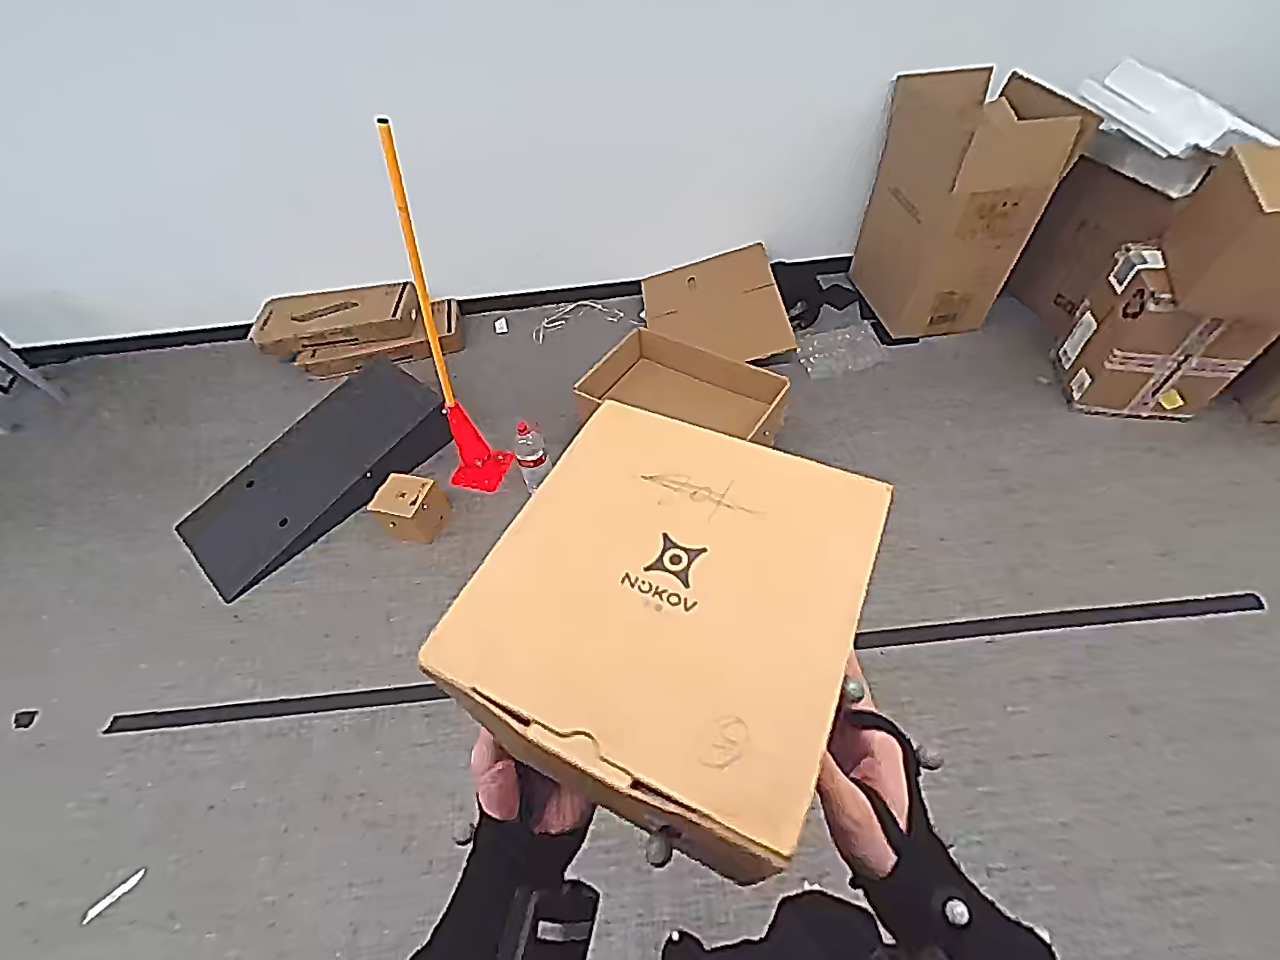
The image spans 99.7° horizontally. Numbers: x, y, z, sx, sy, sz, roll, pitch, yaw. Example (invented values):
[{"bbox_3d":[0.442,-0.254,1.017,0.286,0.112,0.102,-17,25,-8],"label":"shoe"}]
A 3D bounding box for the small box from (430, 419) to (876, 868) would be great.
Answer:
[{"bbox_3d":[0.018,0.099,0.323,0.168,0.176,0.179,19,55,16],"label":"small box"}]
